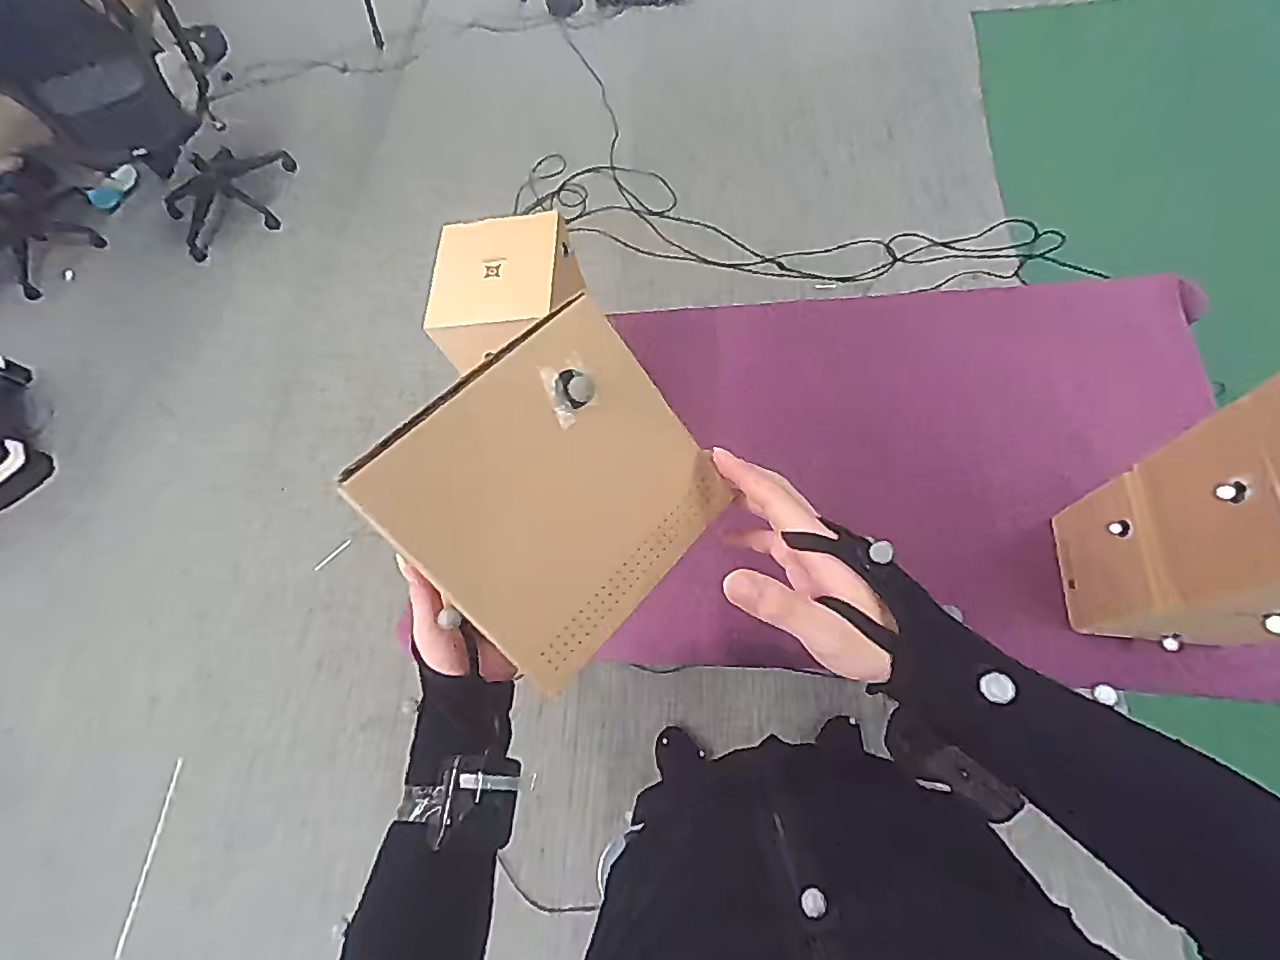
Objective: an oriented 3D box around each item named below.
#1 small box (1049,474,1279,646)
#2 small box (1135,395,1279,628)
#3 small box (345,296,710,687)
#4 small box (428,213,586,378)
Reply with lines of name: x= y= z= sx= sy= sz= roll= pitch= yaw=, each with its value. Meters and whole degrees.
small box: x=0.651 y=0.104 z=0.663 sx=0.179 sy=0.176 sz=0.168 roll=3 pitch=67 yaw=11
small box: x=0.627 y=0.038 z=0.516 sx=0.168 sy=0.176 sz=0.179 roll=3 pitch=68 yaw=13
small box: x=-0.075 y=0.006 z=0.386 sx=0.179 sy=0.168 sz=0.176 roll=-45 pitch=110 yaw=-21
small box: x=-0.172 y=-0.239 z=0.767 sx=0.168 sy=0.176 sz=0.179 roll=-3 pitch=67 yaw=9
